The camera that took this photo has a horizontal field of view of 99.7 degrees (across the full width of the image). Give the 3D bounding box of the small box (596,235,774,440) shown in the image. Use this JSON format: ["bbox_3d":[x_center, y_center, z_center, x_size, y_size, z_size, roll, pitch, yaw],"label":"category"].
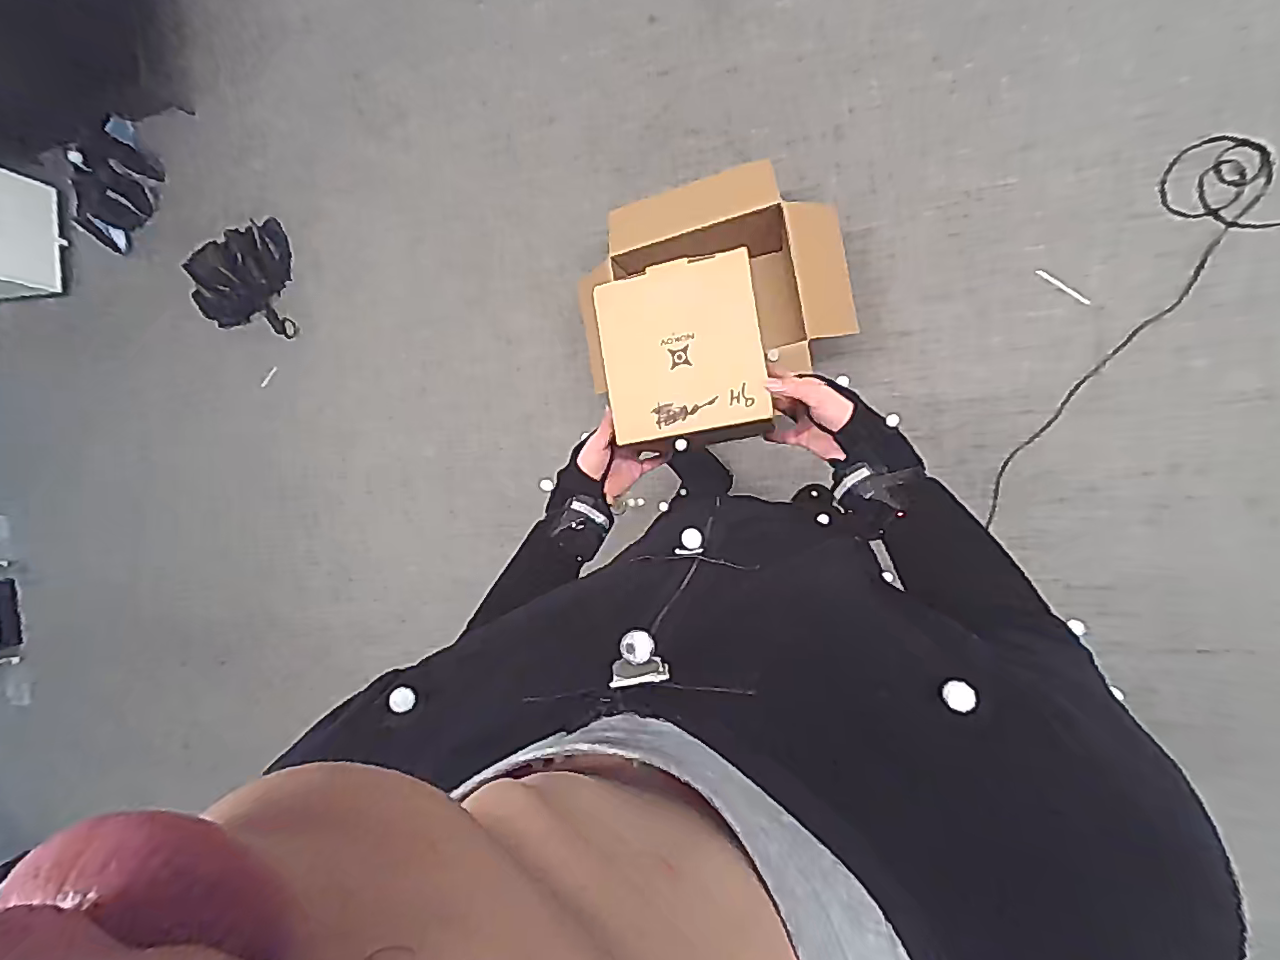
[{"bbox_3d":[0.061,-0.148,0.630,0.168,0.176,0.179,-9,88,16],"label":"small box"}]
